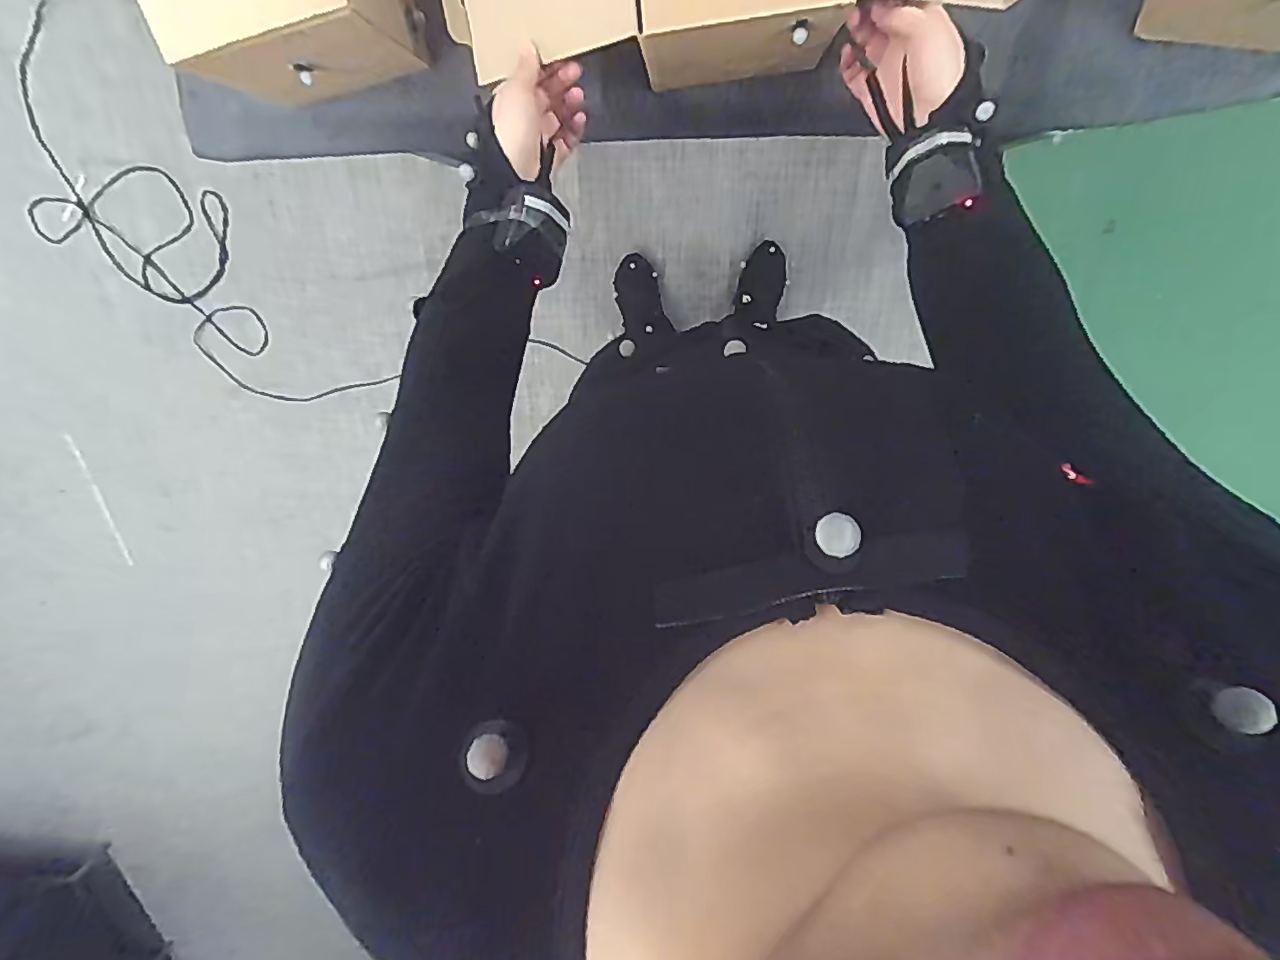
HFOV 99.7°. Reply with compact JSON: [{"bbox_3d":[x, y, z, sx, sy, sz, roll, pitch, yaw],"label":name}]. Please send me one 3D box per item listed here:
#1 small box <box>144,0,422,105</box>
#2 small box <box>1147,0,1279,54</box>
[{"bbox_3d":[-0.323,-0.469,0.490,0.179,0.176,0.168,-9,114,8],"label":"small box"},{"bbox_3d":[0.571,-0.466,0.422,0.179,0.176,0.168,7,110,2],"label":"small box"}]
